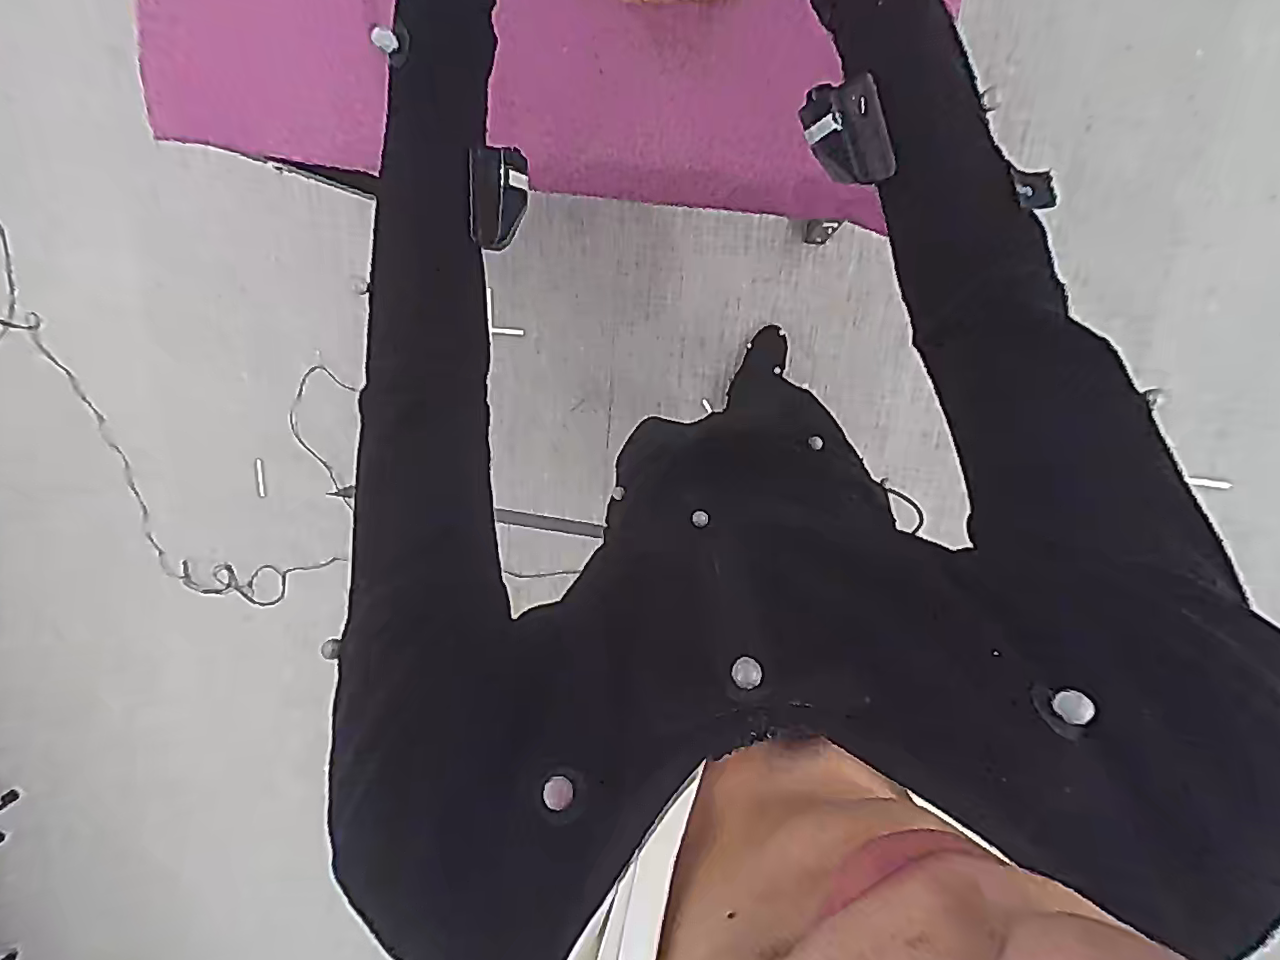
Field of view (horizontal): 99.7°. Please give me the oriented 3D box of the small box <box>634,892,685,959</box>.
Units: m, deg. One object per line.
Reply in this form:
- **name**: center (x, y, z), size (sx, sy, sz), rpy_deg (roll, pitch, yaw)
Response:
- **small box**: center (0.079, 1.729, 2.067), size (0.168, 0.176, 0.179), rpy_deg (-3, 105, 11)

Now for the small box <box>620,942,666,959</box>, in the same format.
- **small box**: center (-0.005, 1.823, 1.937), size (0.168, 0.176, 0.179), rpy_deg (11, 107, 6)
